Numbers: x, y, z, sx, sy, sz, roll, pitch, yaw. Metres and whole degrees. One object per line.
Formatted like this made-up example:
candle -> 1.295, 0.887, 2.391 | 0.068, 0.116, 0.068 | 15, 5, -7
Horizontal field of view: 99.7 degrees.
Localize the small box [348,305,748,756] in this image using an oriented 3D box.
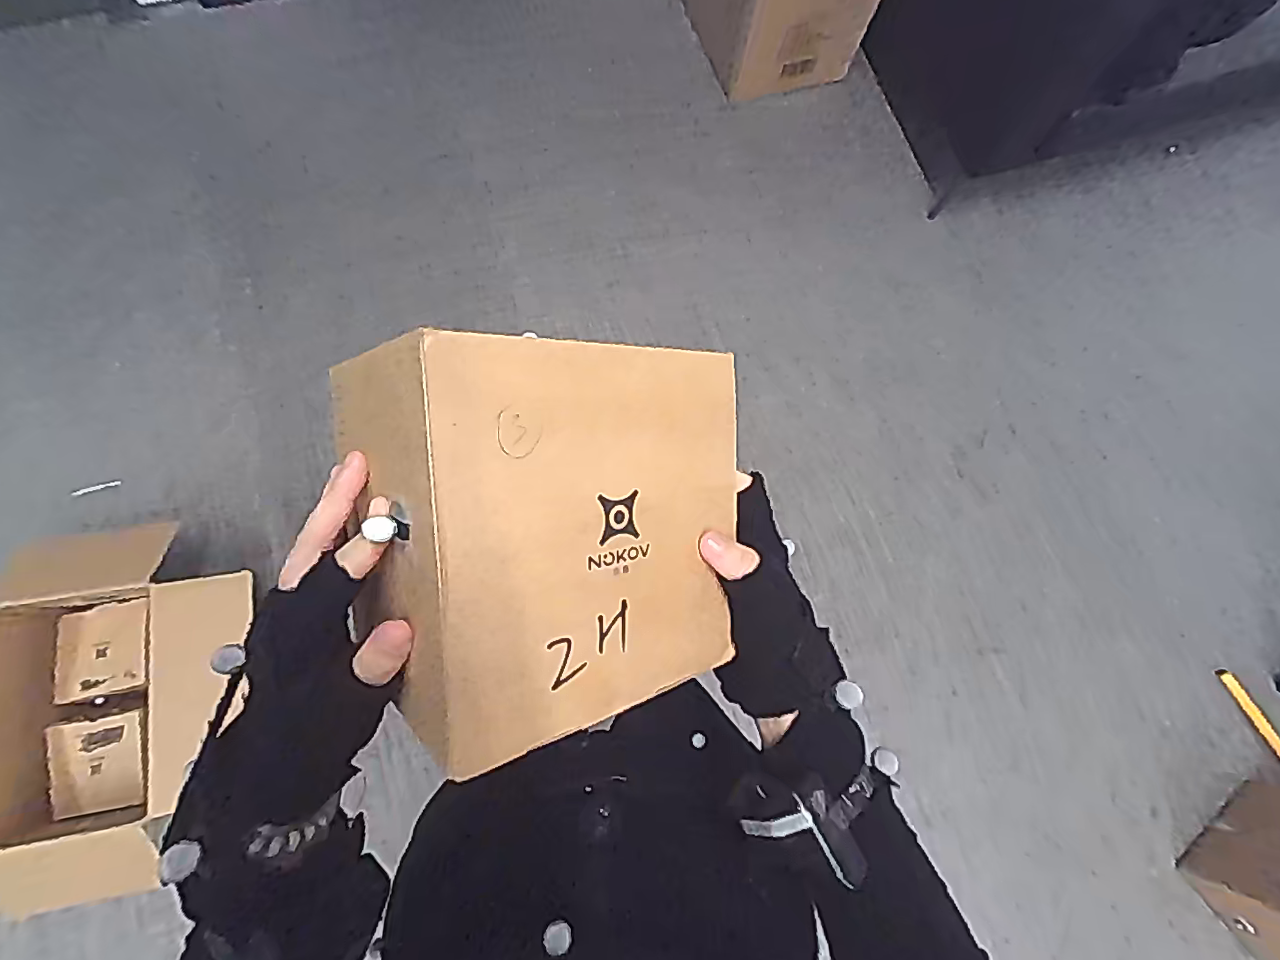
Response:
small box -> -0.056, 0.011, 0.312 | 0.168, 0.176, 0.179 | -7, 99, -39
